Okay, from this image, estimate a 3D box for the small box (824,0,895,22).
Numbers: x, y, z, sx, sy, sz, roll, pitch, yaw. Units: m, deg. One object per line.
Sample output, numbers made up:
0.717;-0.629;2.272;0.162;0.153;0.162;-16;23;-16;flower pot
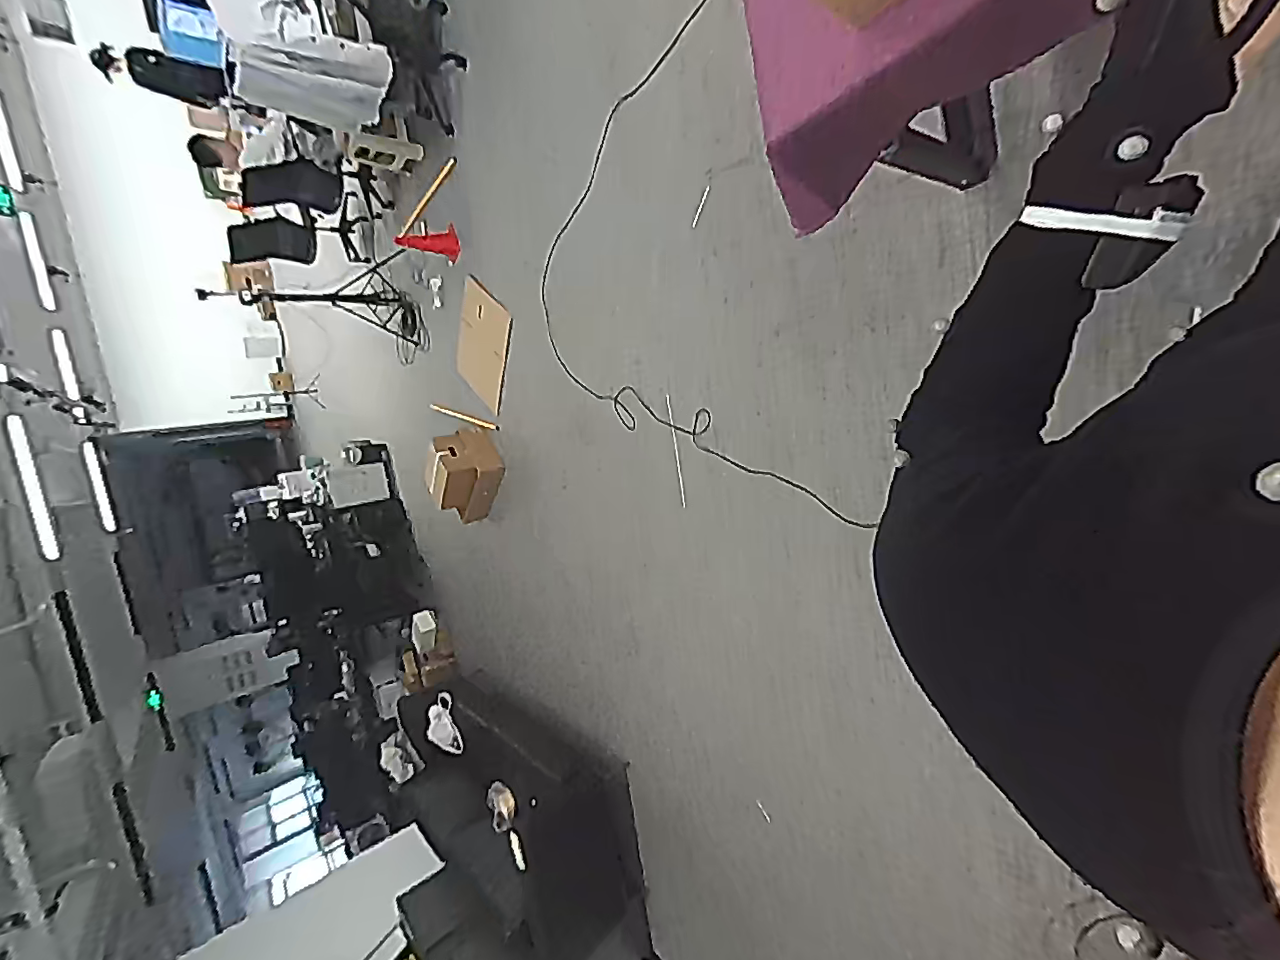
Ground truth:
0.274;-0.680;0.613;0.179;0.176;0.168;-3;99;51;small box
